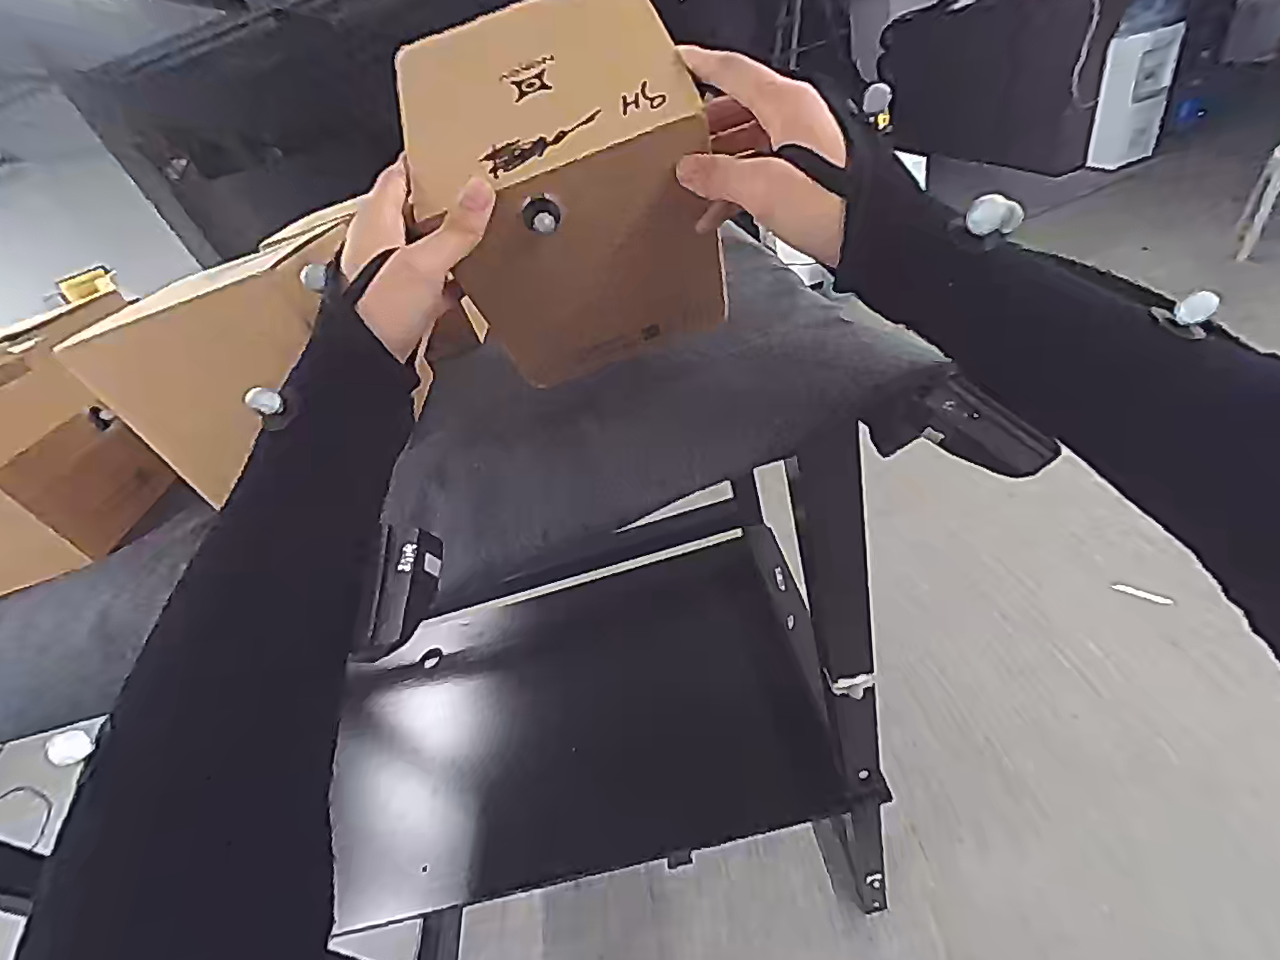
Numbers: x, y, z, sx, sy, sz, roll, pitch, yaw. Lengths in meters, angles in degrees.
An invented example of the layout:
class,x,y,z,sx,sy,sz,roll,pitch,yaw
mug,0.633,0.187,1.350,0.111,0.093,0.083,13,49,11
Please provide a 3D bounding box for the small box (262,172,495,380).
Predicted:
class,x,y,z,sx,sy,sz,roll,pitch,yaw
small box,-0.291,-0.246,0.653,0.168,0.176,0.179,-17,37,6

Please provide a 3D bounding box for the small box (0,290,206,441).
class,x,y,z,sx,sy,sz,roll,pitch,yaw
small box,-0.716,-0.110,0.686,0.168,0.176,0.179,-17,36,5

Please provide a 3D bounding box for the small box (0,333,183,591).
class,x,y,z,sx,sy,sz,roll,pitch,yaw
small box,-0.592,-0.007,0.499,0.179,0.176,0.168,-18,35,1
